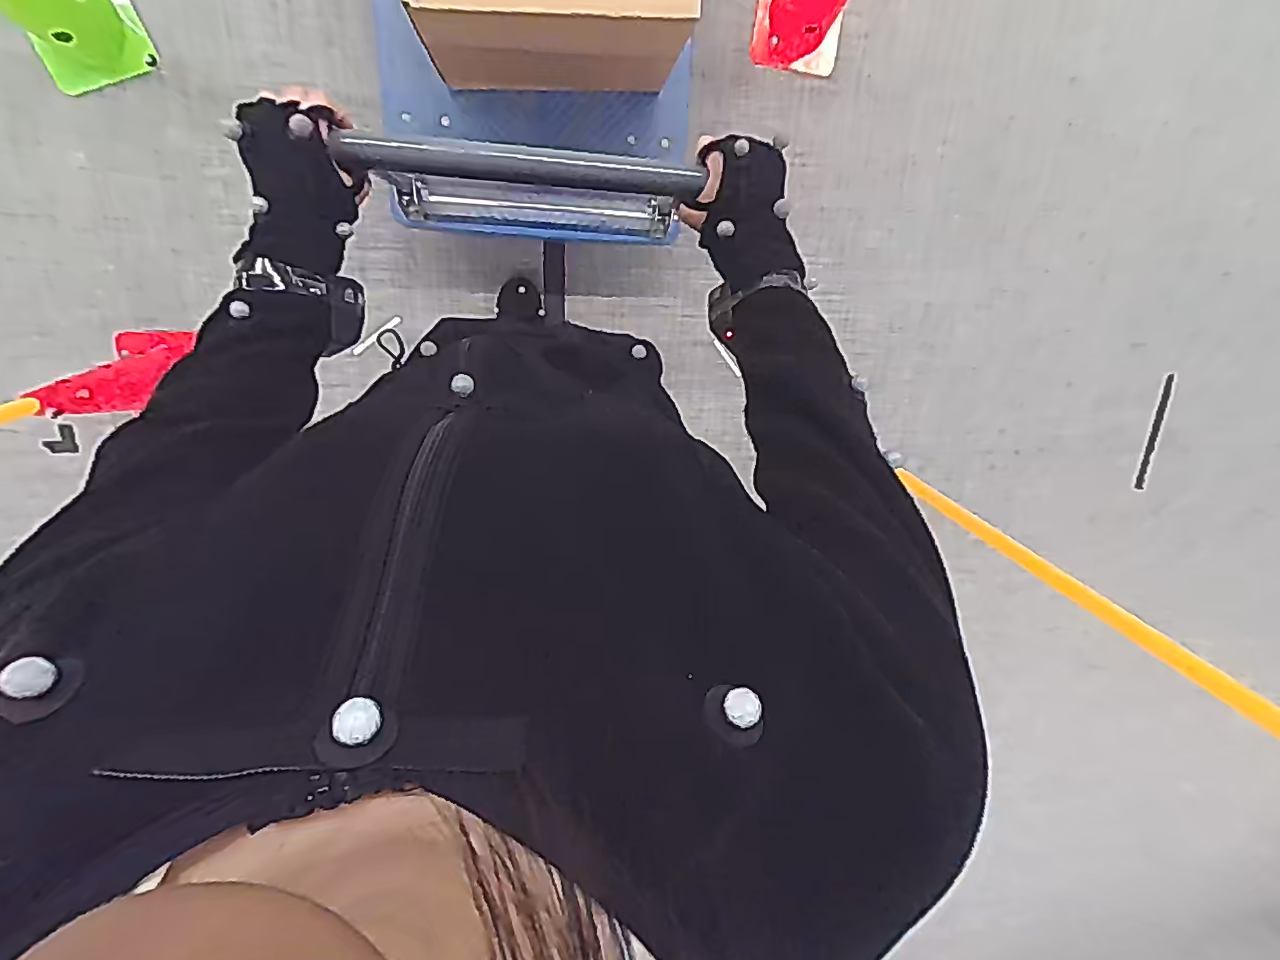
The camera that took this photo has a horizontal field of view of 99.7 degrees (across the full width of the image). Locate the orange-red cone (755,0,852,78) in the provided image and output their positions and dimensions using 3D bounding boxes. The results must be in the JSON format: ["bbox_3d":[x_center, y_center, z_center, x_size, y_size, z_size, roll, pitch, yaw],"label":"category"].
[{"bbox_3d":[0.390,-0.966,1.036,0.199,0.360,0.198,5,108,-11],"label":"orange-red cone"}]
